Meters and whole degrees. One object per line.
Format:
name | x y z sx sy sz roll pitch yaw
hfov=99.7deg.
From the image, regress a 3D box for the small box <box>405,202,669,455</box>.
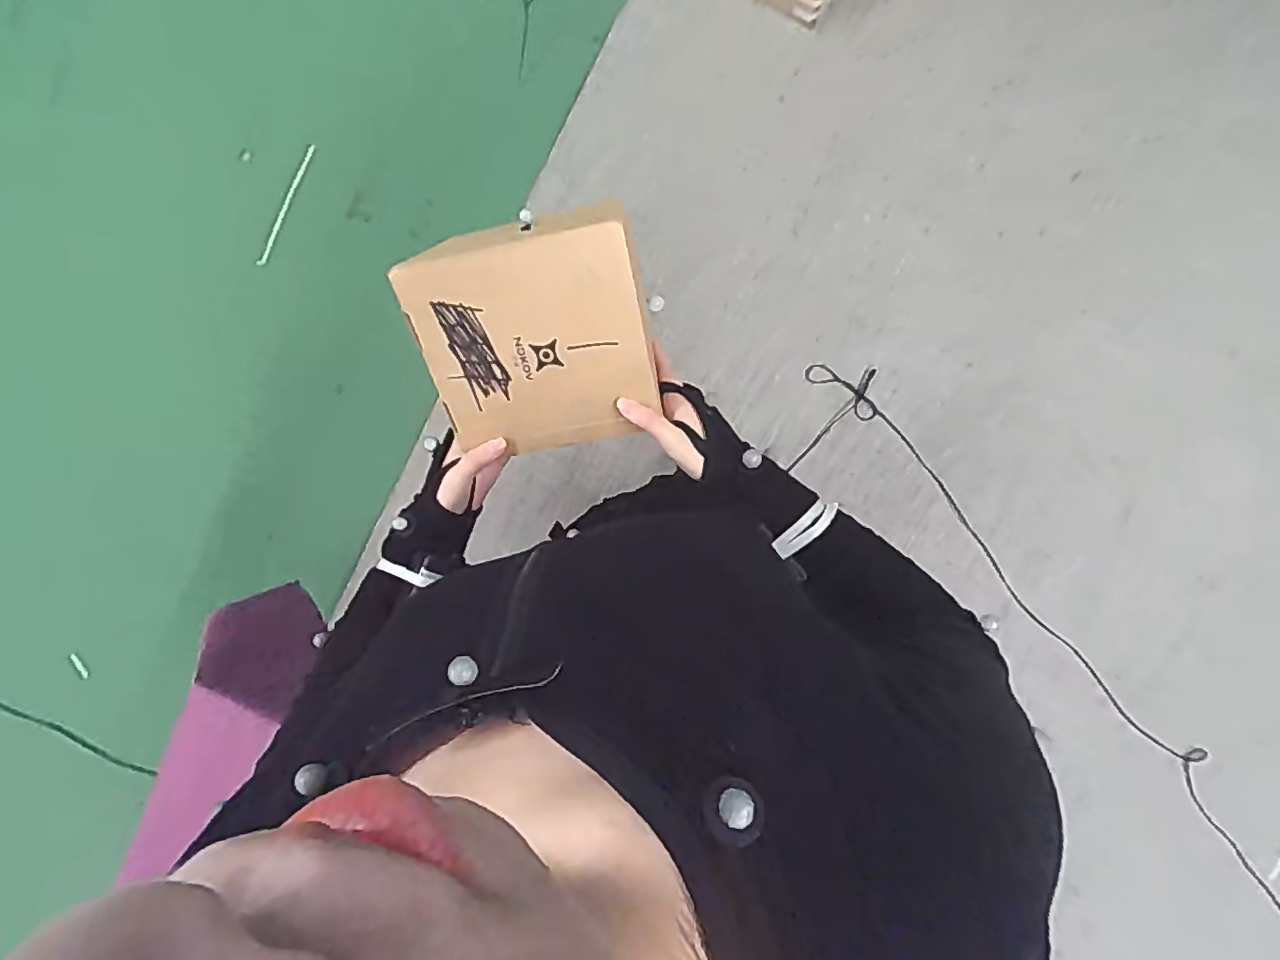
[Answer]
small box | -0.073 -0.143 0.492 0.179 0.176 0.168 -9 121 5
